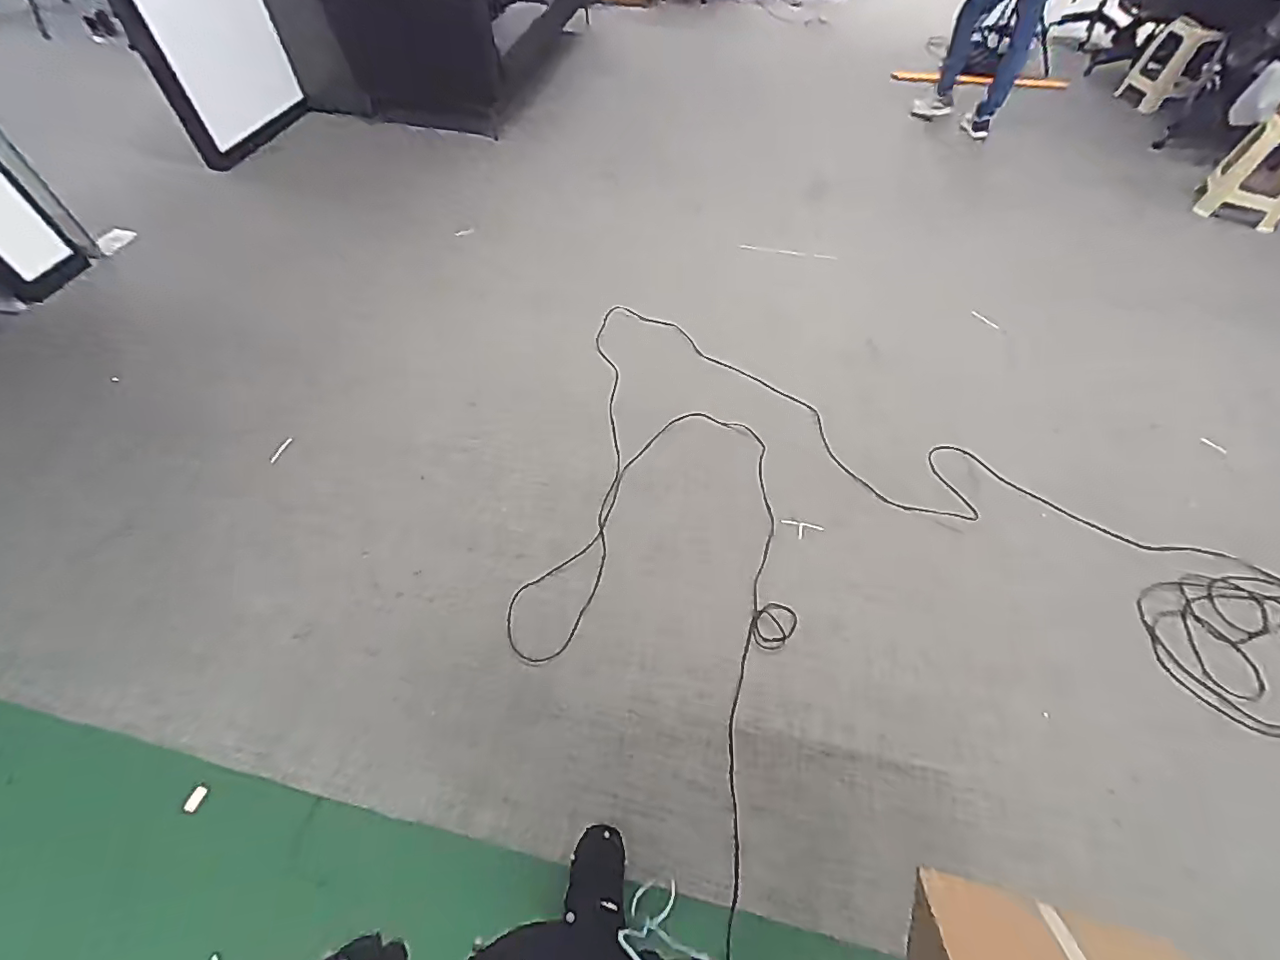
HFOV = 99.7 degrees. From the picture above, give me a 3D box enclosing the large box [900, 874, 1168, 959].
[{"bbox_3d":[0.474,0.744,0.569,0.320,0.408,0.320,10,91,15],"label":"large box"}]
